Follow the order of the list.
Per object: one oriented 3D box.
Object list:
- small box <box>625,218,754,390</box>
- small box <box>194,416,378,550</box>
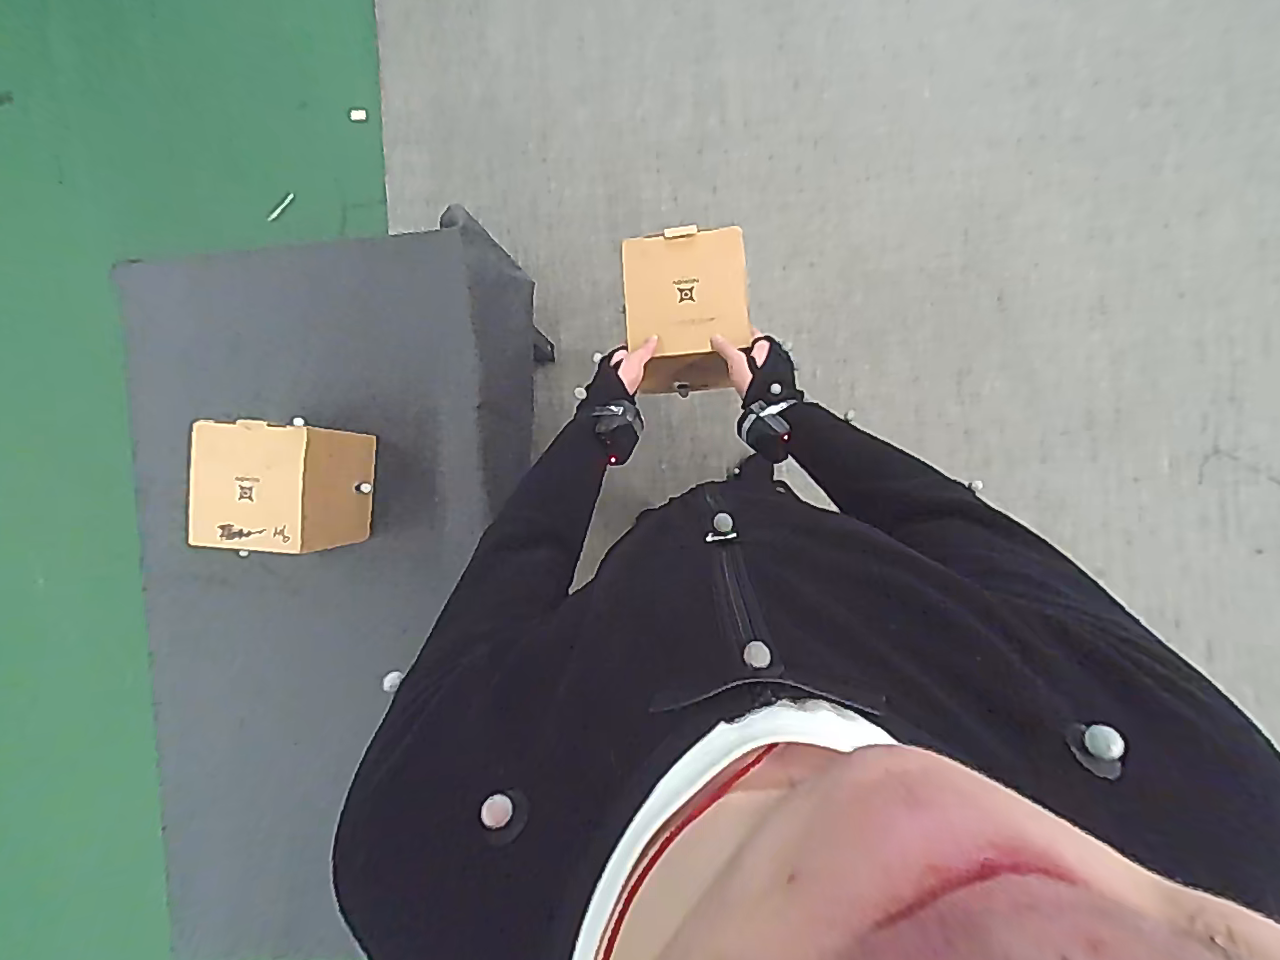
[{"bbox_3d":[0.070,-0.242,0.779,0.168,0.176,0.179,-3,82,7],"label":"small box"},{"bbox_3d":[-0.524,0.004,0.824,0.168,0.176,0.179,4,90,5],"label":"small box"}]
